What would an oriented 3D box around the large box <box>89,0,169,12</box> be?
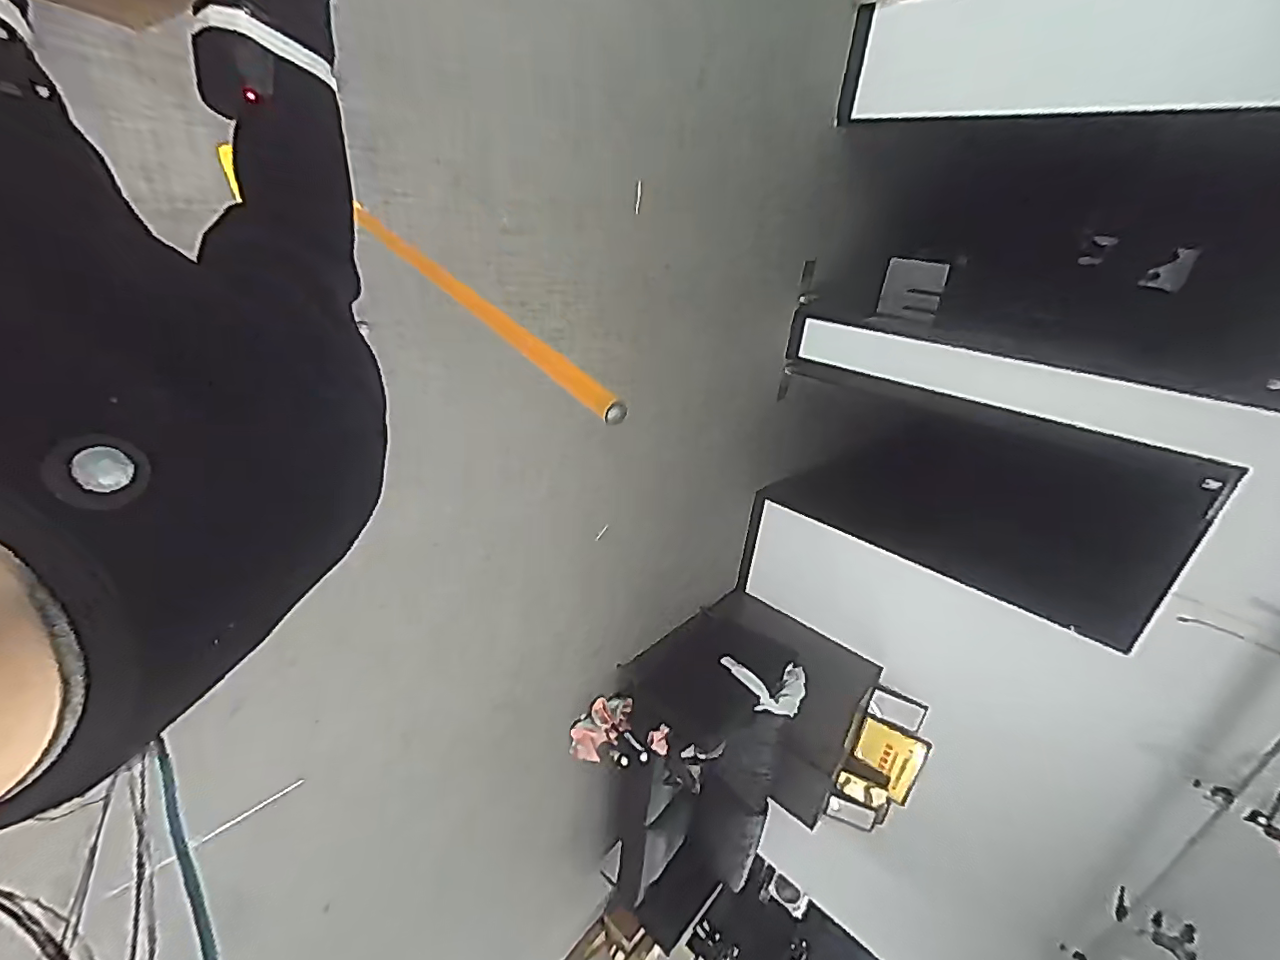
[{"bbox_3d":[-0.494,-0.510,0.263,0.408,0.320,0.320,-17,123,-48],"label":"large box"}]
